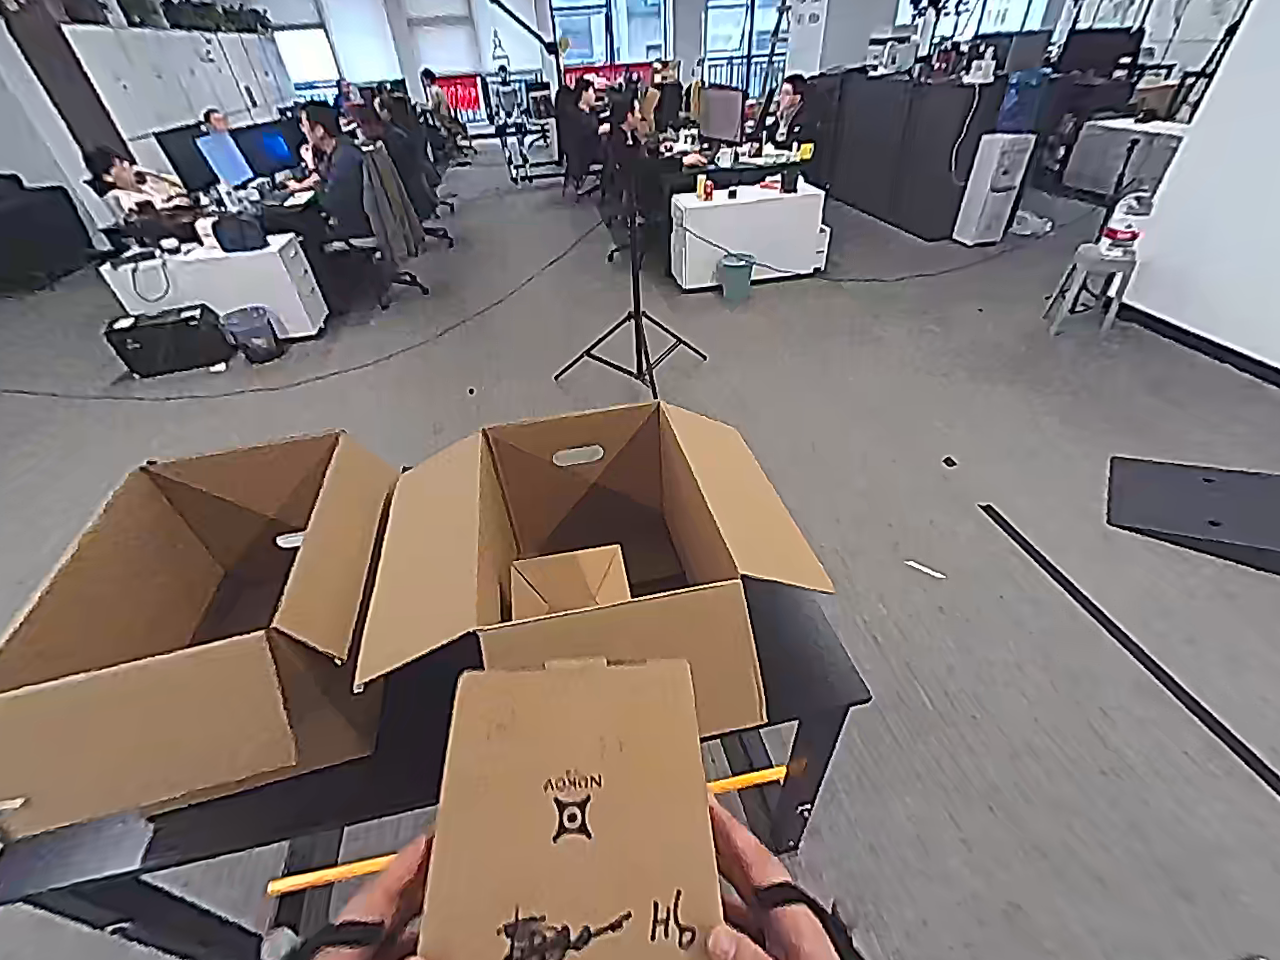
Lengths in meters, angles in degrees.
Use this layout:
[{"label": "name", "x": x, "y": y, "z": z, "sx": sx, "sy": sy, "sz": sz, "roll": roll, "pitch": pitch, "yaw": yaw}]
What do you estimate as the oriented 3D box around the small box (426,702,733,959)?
[{"label": "small box", "x": -0.036, "y": 0.276, "z": 0.376, "sx": 0.168, "sy": 0.176, "sz": 0.179, "roll": -3, "pitch": 48, "yaw": -3}]
